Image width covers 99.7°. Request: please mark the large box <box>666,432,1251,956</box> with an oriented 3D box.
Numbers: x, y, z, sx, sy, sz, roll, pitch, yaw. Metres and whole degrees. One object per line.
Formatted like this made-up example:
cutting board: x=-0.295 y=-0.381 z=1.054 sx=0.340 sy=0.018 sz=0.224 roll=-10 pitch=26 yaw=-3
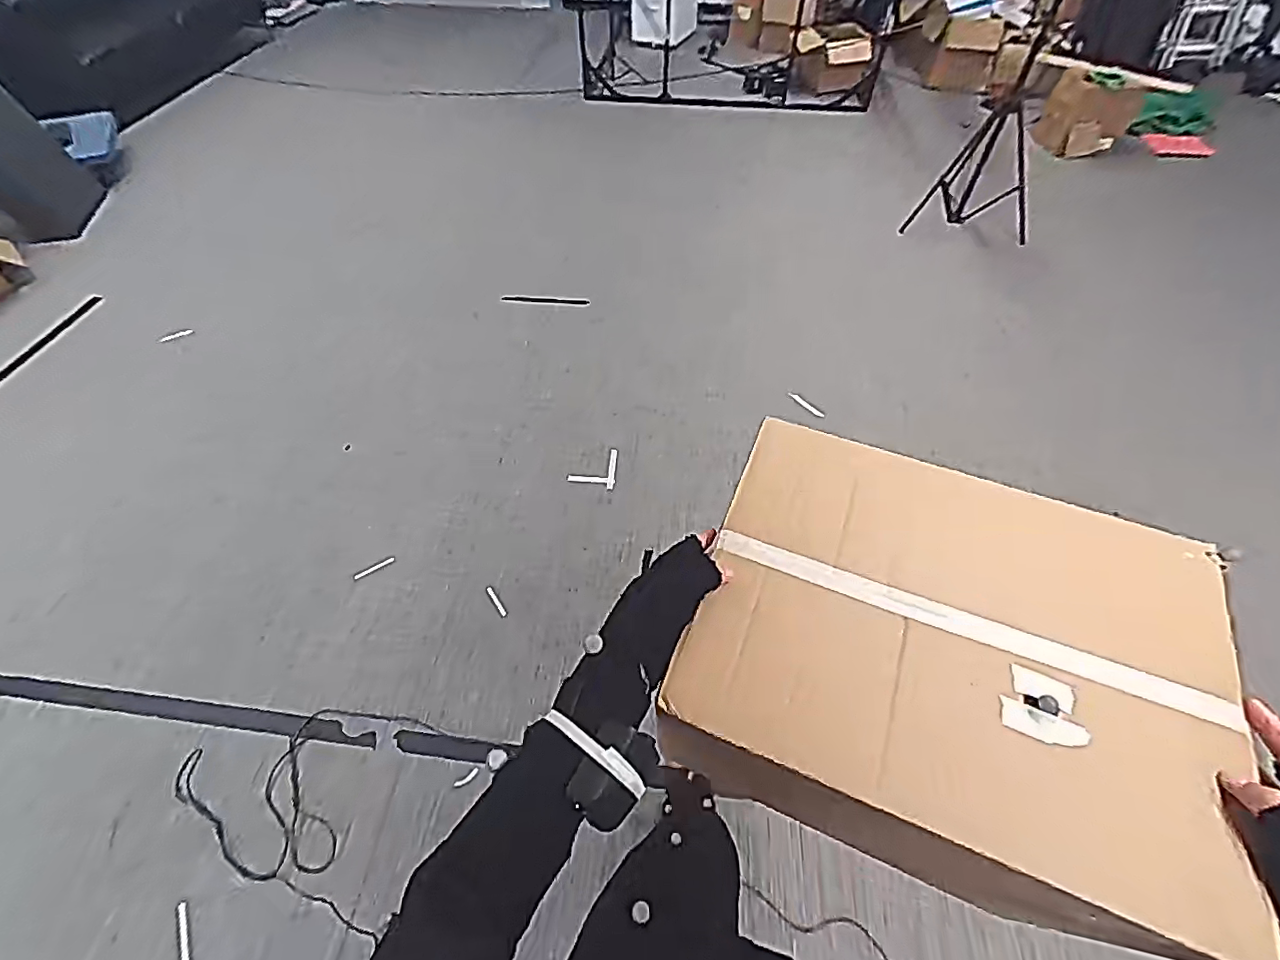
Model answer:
large box: x=0.266 y=0.205 z=0.585 sx=0.408 sy=0.320 sz=0.320 roll=19 pitch=61 yaw=14
